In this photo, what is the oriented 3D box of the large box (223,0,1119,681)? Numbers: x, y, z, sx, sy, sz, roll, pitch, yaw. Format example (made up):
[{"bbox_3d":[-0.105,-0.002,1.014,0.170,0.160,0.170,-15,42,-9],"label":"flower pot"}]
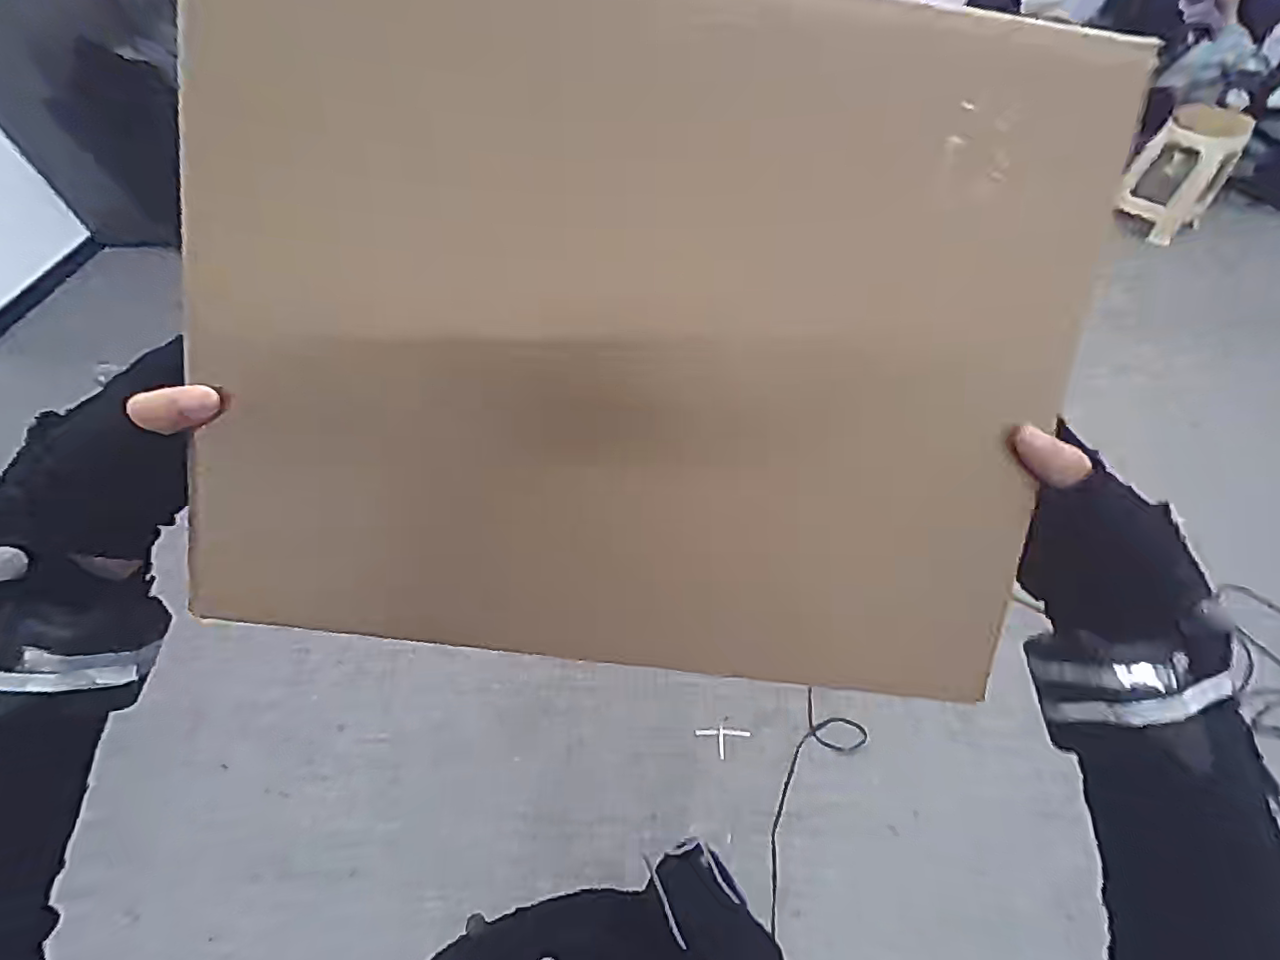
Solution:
[{"bbox_3d":[0.001,-0.084,0.406,0.408,0.320,0.320,9,10,-3],"label":"large box"}]
